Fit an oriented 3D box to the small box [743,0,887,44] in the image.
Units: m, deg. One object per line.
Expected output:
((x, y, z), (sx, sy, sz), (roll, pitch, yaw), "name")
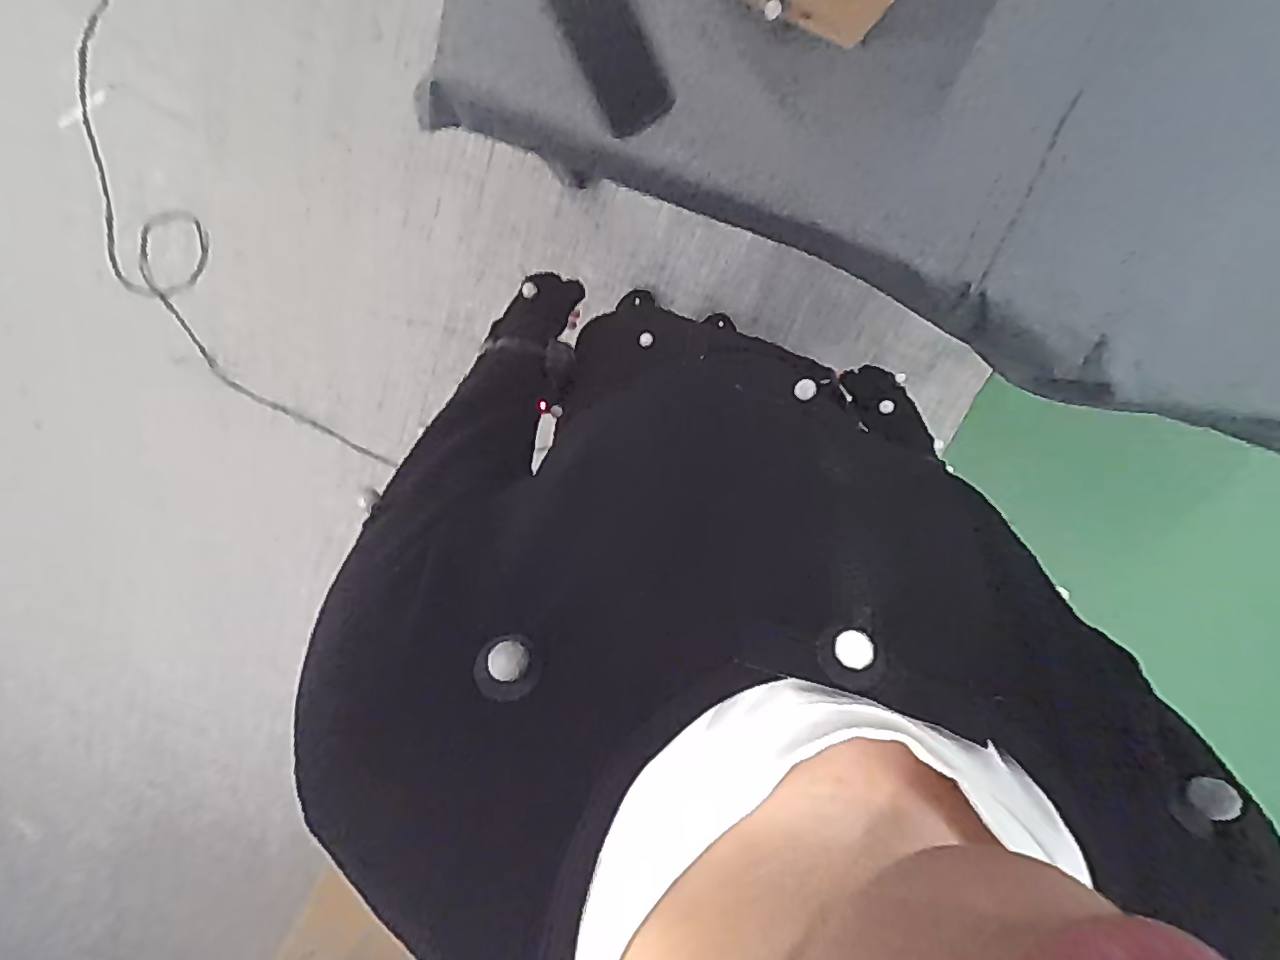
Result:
((0.170, -0.526, 0.454), (0.168, 0.176, 0.179), (19, 110, -5), "small box")
